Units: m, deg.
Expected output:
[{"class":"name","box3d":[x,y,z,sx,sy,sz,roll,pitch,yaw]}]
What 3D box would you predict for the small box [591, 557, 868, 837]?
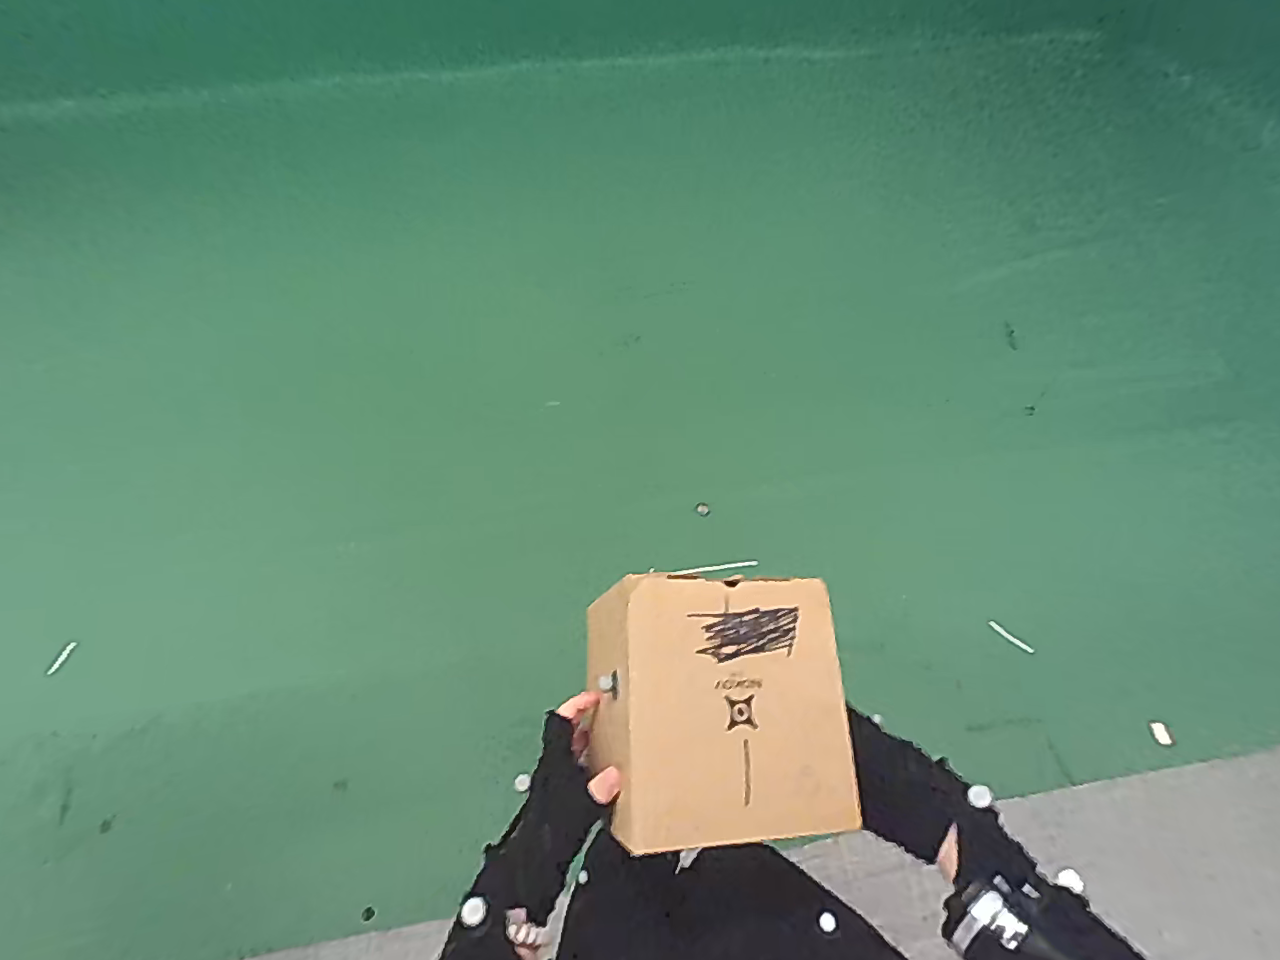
[{"class":"small box","box3d":[0.054,0.171,0.449,0.168,0.176,0.179,4,69,-14]}]
